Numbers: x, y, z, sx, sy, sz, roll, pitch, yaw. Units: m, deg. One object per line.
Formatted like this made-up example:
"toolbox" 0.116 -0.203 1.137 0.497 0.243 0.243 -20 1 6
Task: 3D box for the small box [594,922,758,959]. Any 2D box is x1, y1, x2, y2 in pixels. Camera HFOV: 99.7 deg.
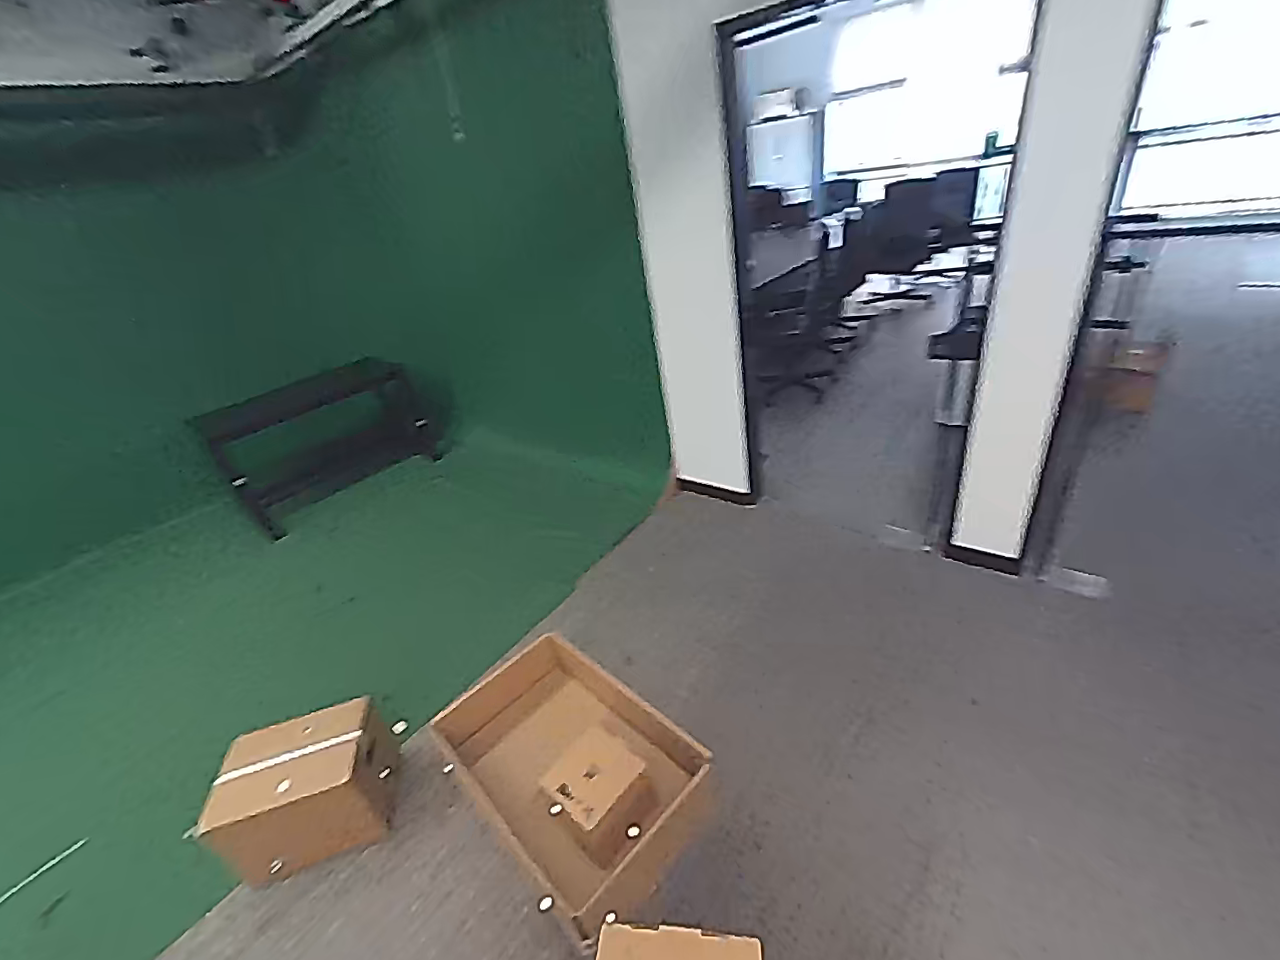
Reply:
"small box" 0.029 0.575 0.516 0.168 0.176 0.179 2 27 5
